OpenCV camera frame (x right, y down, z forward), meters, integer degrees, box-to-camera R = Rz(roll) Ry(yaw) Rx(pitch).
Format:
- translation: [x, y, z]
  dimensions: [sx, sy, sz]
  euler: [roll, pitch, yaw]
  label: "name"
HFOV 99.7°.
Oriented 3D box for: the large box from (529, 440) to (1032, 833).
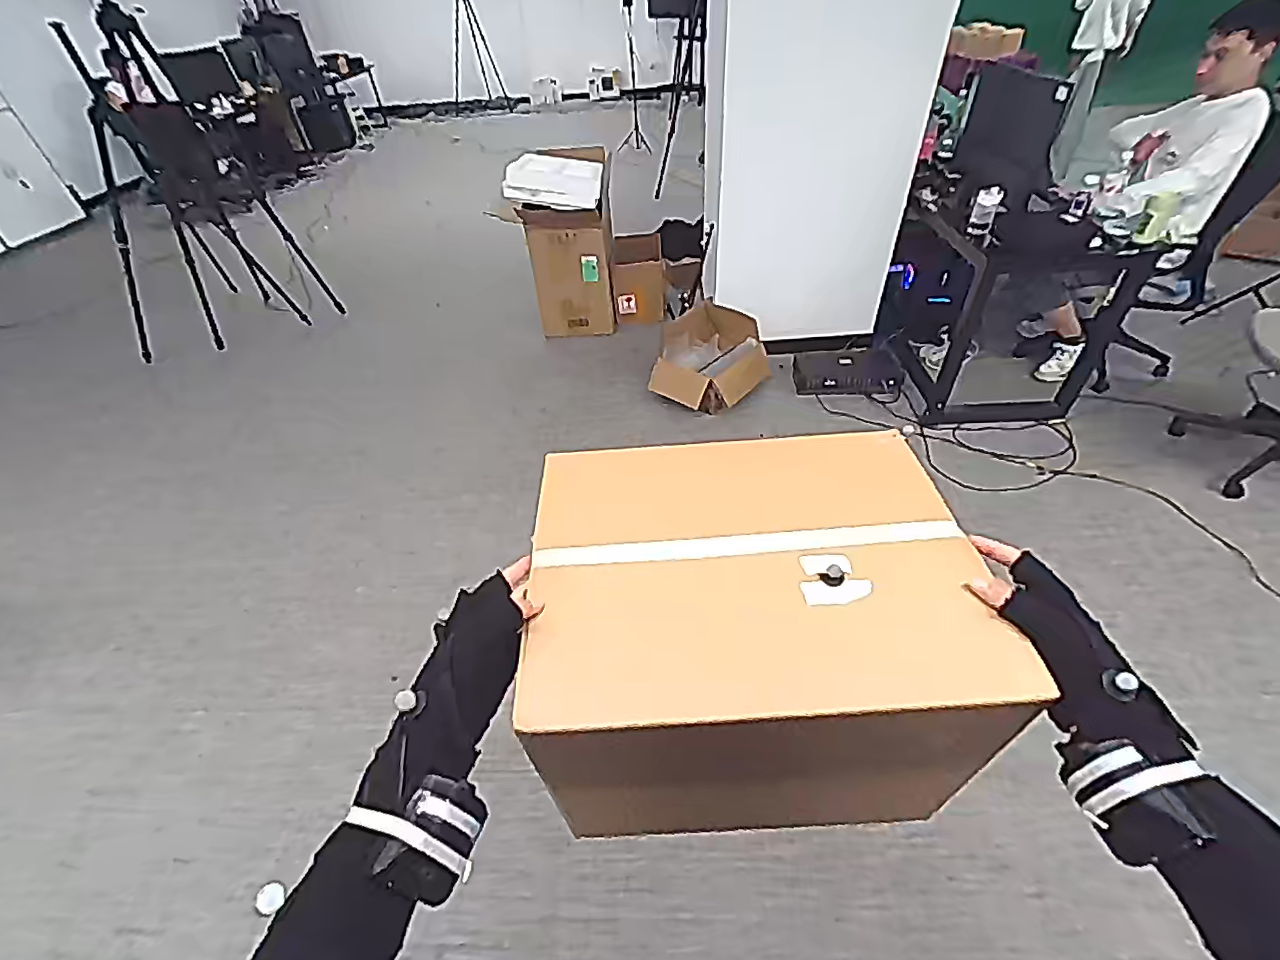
- translation: [0.109, 0.180, 0.626]
  dimensions: [0.408, 0.320, 0.320]
  euler: [-4, 44, 1]
  label: "large box"
